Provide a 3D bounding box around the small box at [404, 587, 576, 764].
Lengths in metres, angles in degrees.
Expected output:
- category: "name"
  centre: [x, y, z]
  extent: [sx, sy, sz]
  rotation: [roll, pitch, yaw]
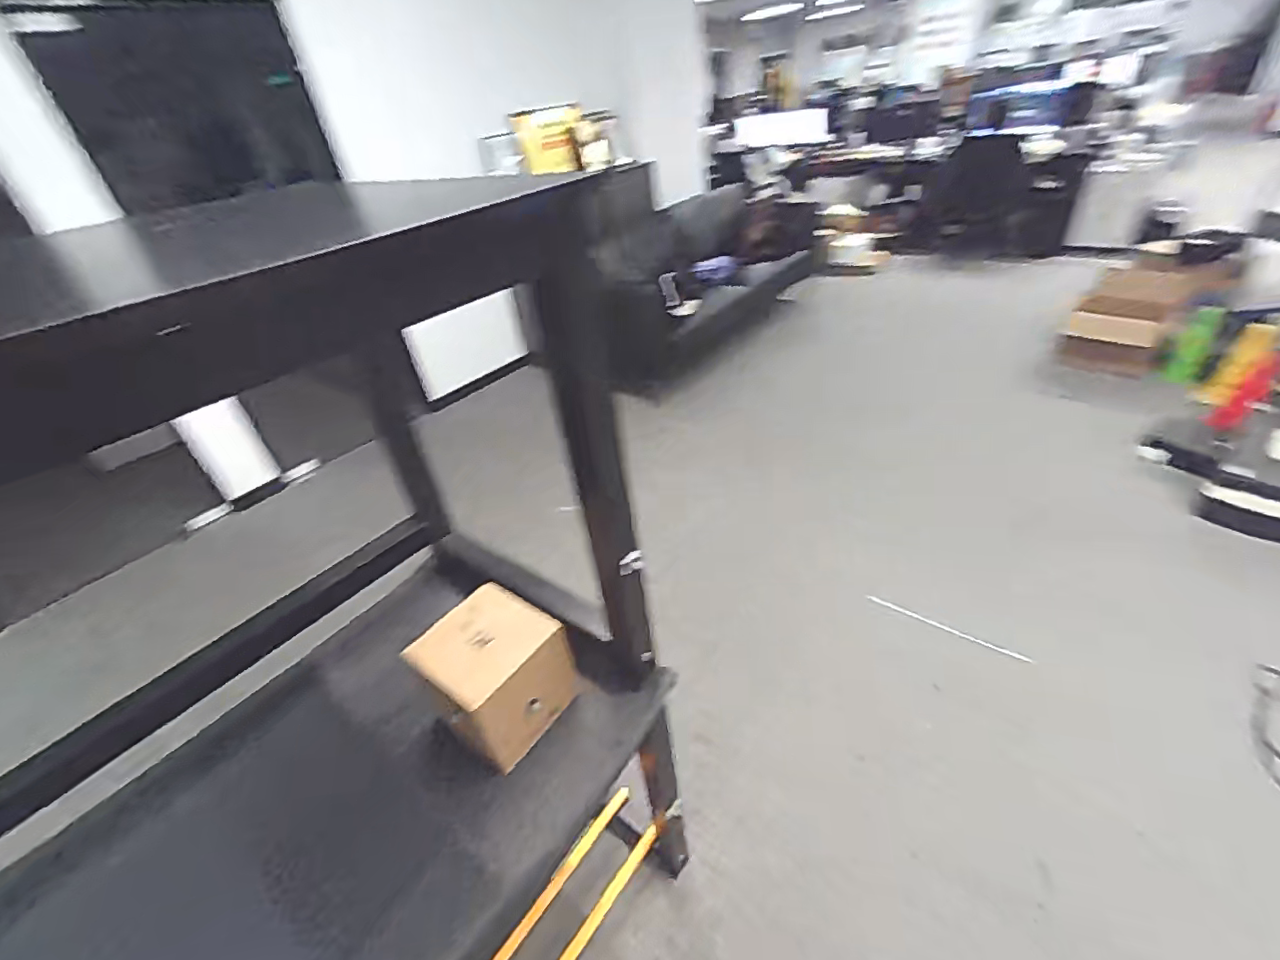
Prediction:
- category: "small box"
  centre: [-0.224, 0.307, 0.847]
  extent: [0.179, 0.176, 0.168]
  rotation: [17, 43, 34]
